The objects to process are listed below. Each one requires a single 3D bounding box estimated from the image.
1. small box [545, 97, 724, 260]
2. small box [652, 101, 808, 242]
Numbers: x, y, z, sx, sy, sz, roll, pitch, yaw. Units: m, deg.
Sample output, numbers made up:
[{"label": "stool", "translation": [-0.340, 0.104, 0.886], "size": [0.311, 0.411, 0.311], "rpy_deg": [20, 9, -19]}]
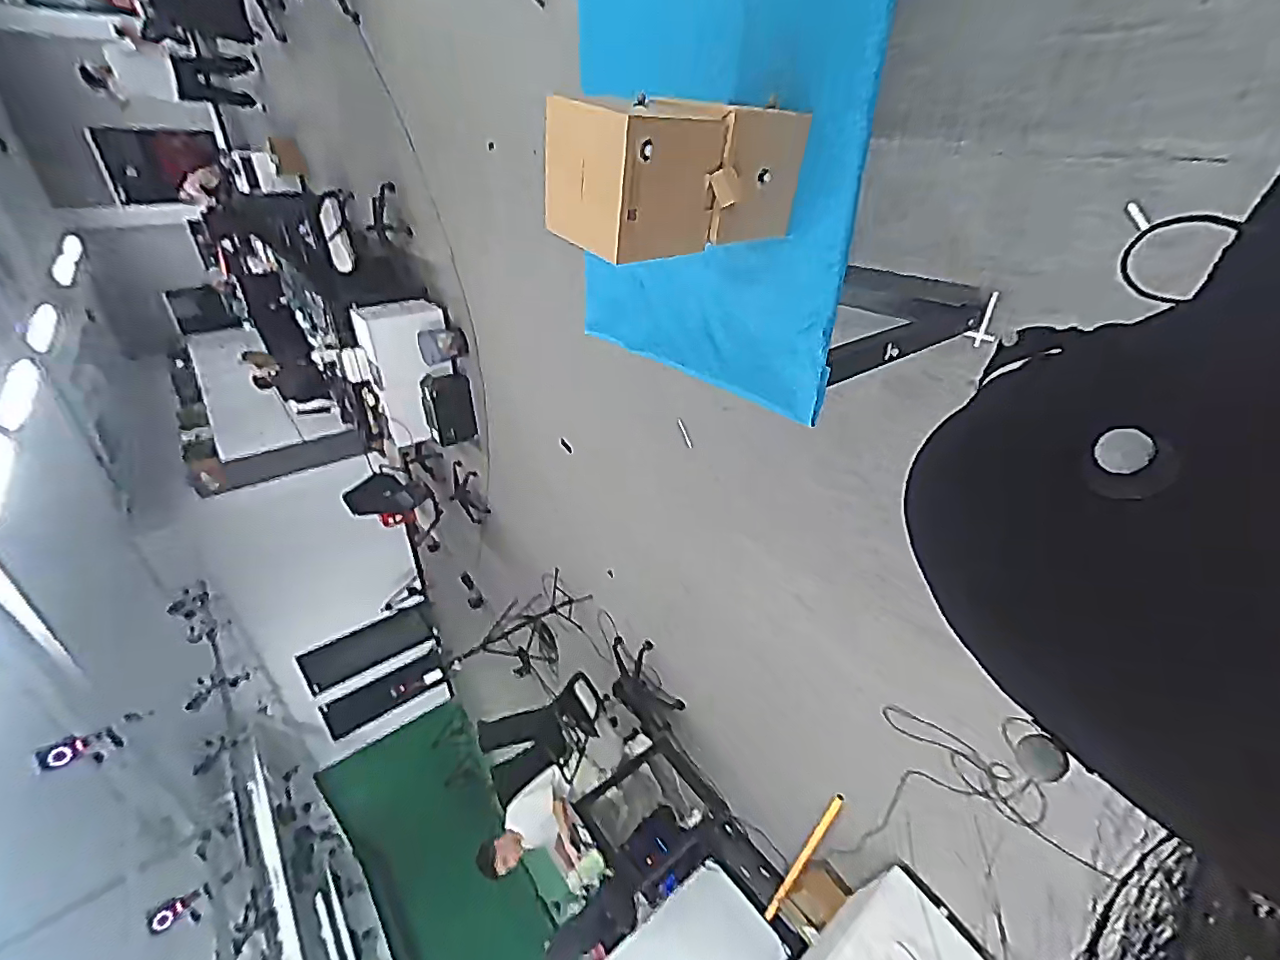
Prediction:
[{"label": "small box", "translation": [-0.015, -0.418, 0.748], "size": [0.179, 0.176, 0.168], "rpy_deg": [40, 138, 33]}, {"label": "small box", "translation": [0.120, -0.473, 0.827], "size": [0.179, 0.176, 0.168], "rpy_deg": [38, 136, 36]}]
